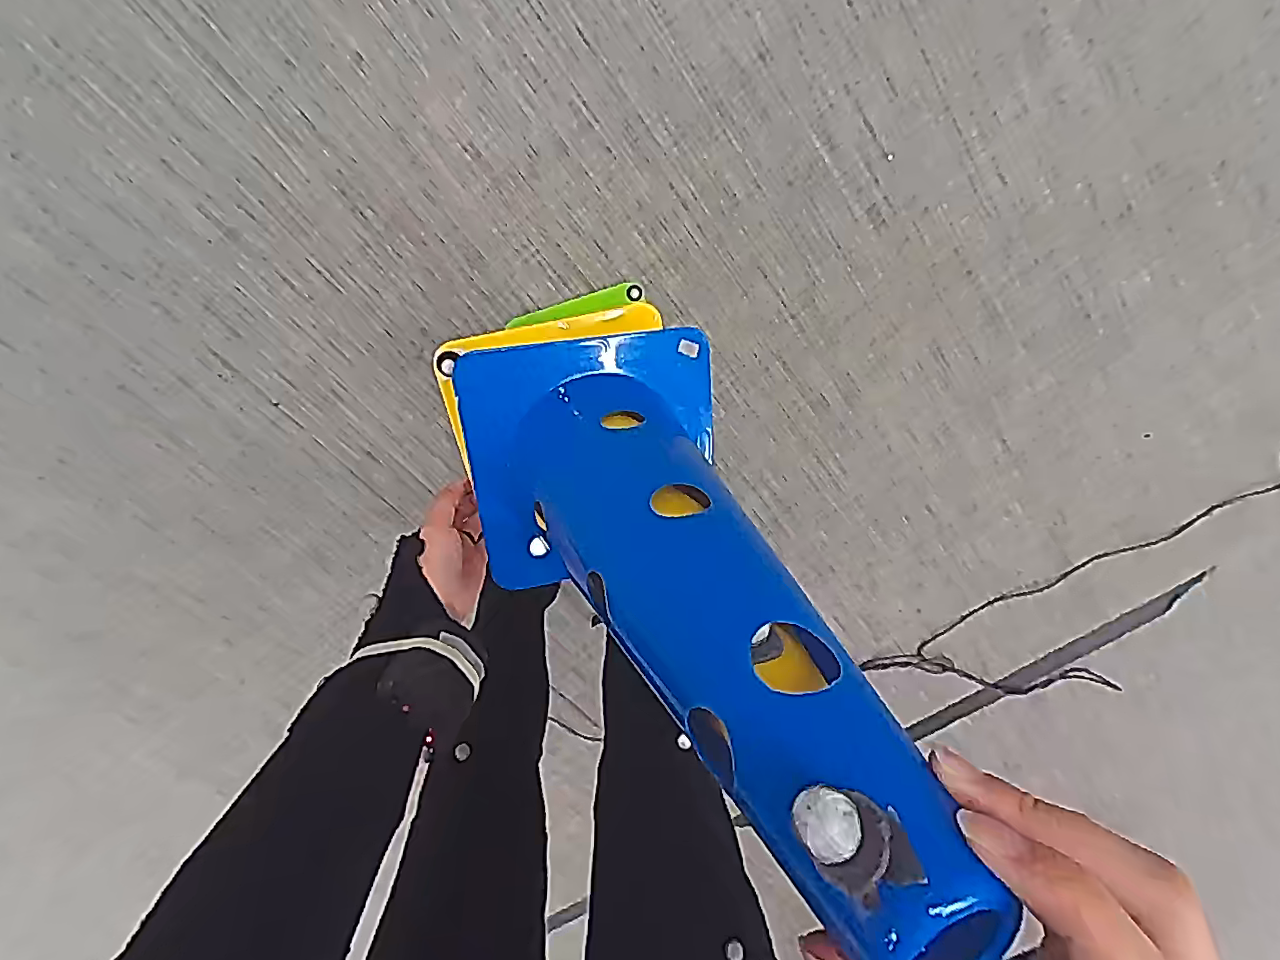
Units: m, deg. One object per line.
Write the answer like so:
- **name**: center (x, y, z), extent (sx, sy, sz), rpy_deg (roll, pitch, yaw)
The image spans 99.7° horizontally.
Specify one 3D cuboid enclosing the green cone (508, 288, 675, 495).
- **green cone**: center (-0.058, -0.080, 0.612), extent (0.200, 0.368, 0.202), rpy_deg (-17, 113, 5)
